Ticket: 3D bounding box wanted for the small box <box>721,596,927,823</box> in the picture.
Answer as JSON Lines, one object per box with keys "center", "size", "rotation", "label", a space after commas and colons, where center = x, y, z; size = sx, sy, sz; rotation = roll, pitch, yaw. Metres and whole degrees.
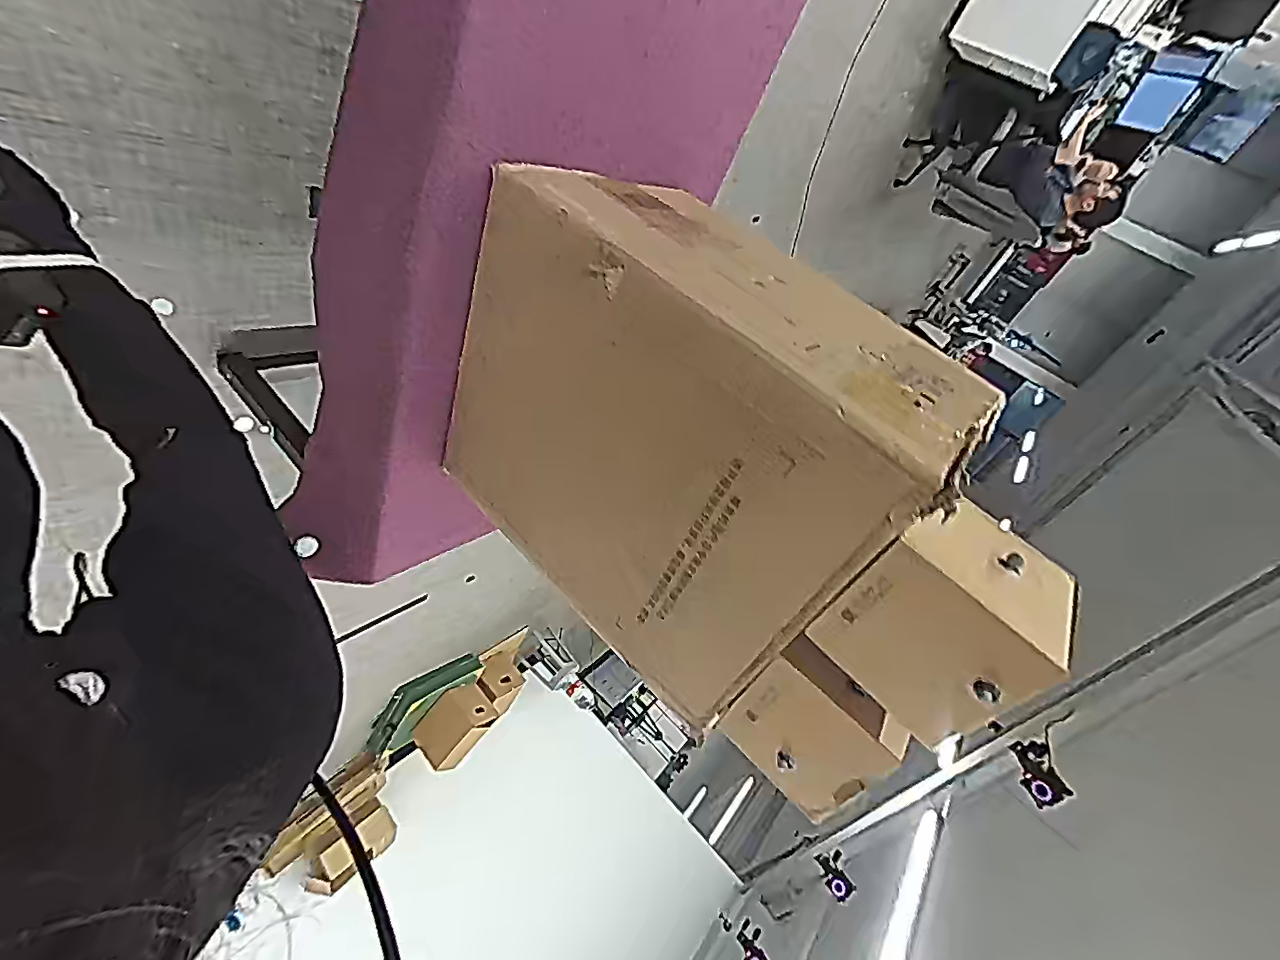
{"center": [0.235, 0.288, 0.708], "size": [0.179, 0.176, 0.168], "rotation": [-25, 151, -51], "label": "small box"}
